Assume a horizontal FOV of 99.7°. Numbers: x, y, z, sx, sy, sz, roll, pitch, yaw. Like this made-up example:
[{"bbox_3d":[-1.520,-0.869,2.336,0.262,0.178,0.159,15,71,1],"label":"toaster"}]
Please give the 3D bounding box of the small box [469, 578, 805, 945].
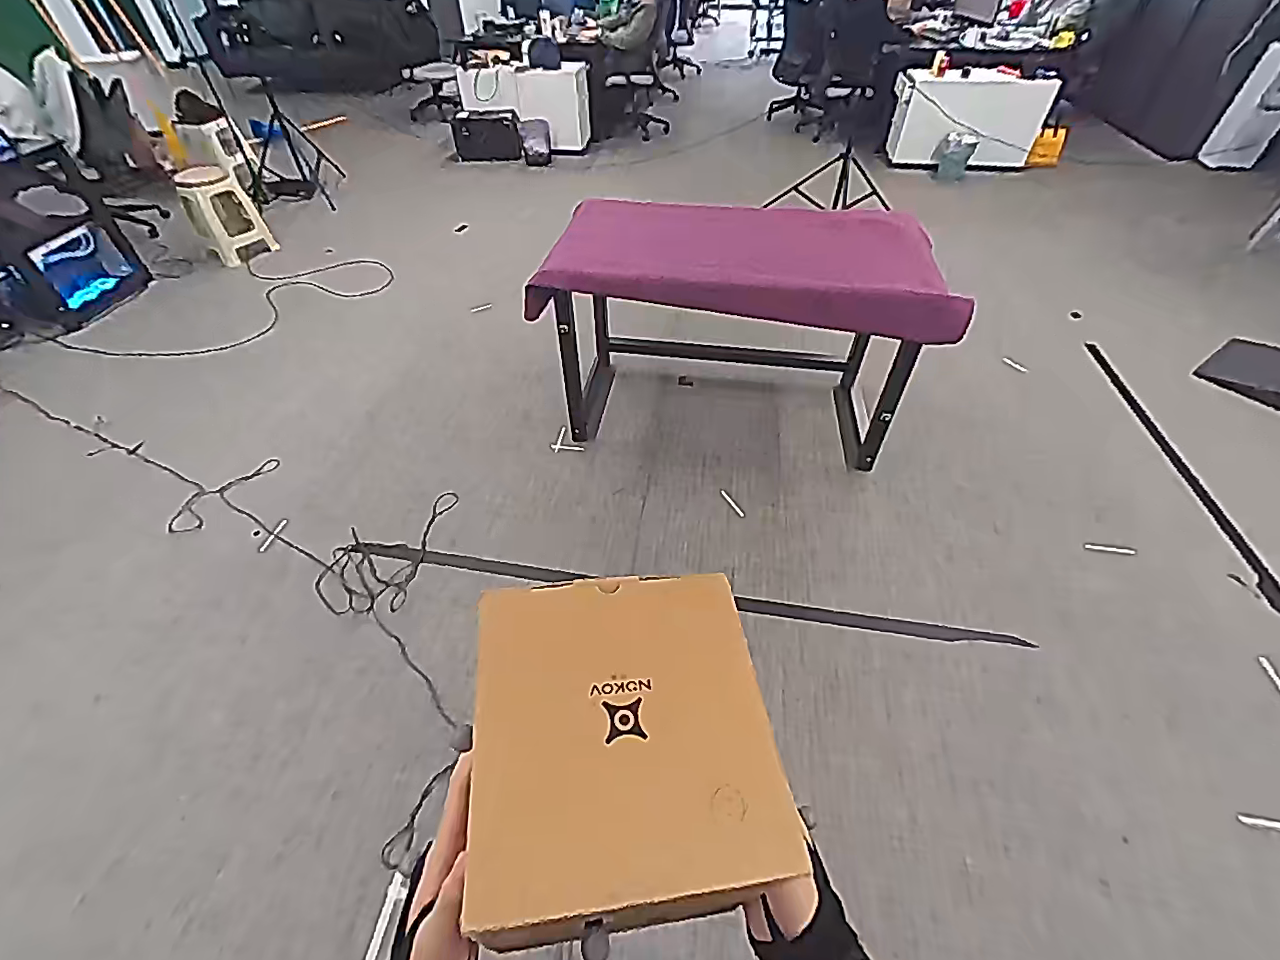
[{"bbox_3d":[-0.015,0.190,0.368,0.168,0.176,0.179,-3,46,-10],"label":"small box"}]
